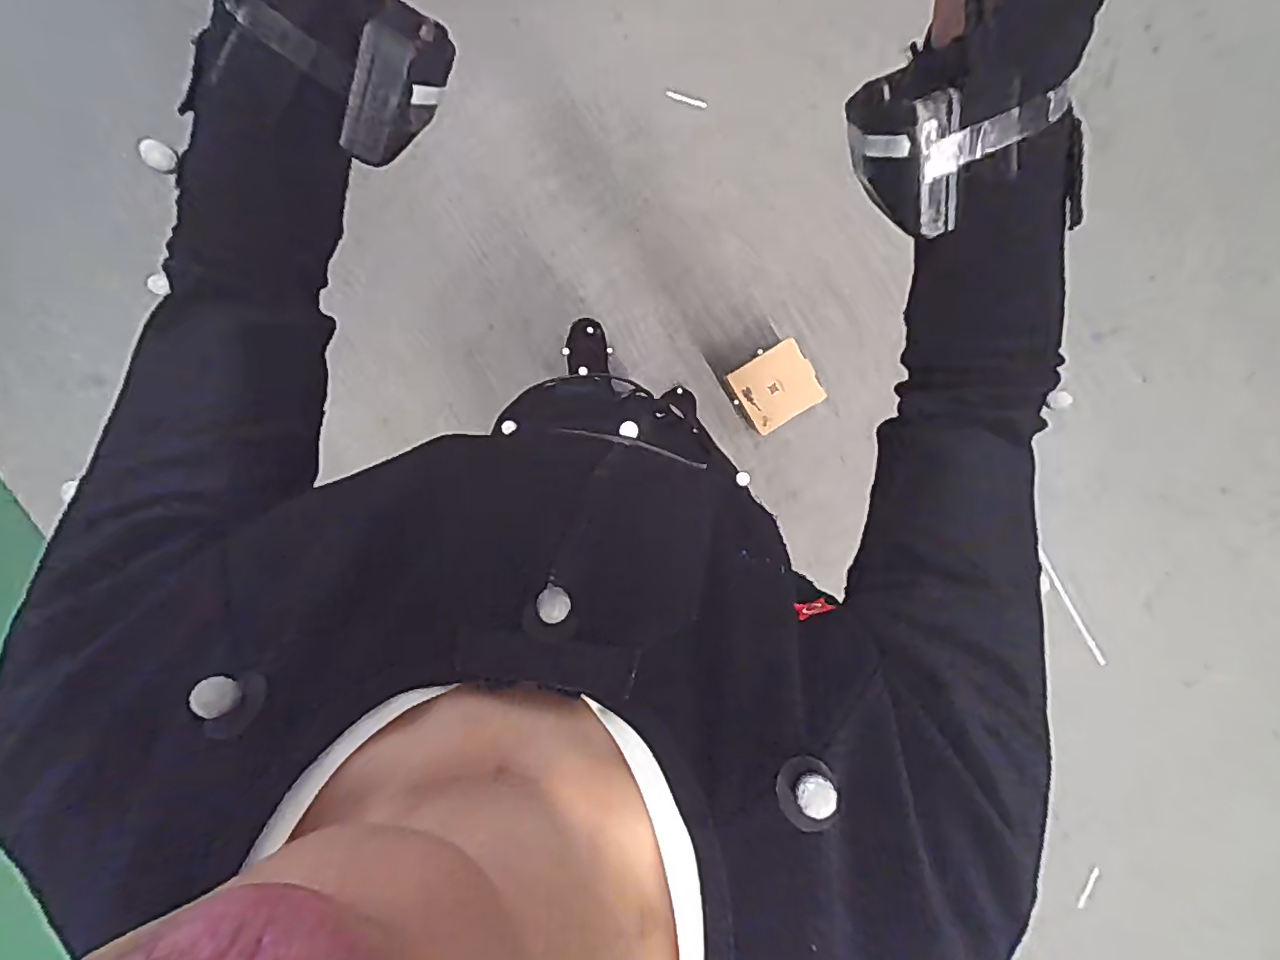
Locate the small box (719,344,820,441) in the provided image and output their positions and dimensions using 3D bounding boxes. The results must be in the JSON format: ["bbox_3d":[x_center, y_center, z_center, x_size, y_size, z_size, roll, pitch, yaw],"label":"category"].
[{"bbox_3d":[0.308,-0.216,1.329,0.179,0.176,0.168,-30,95,8],"label":"small box"}]
